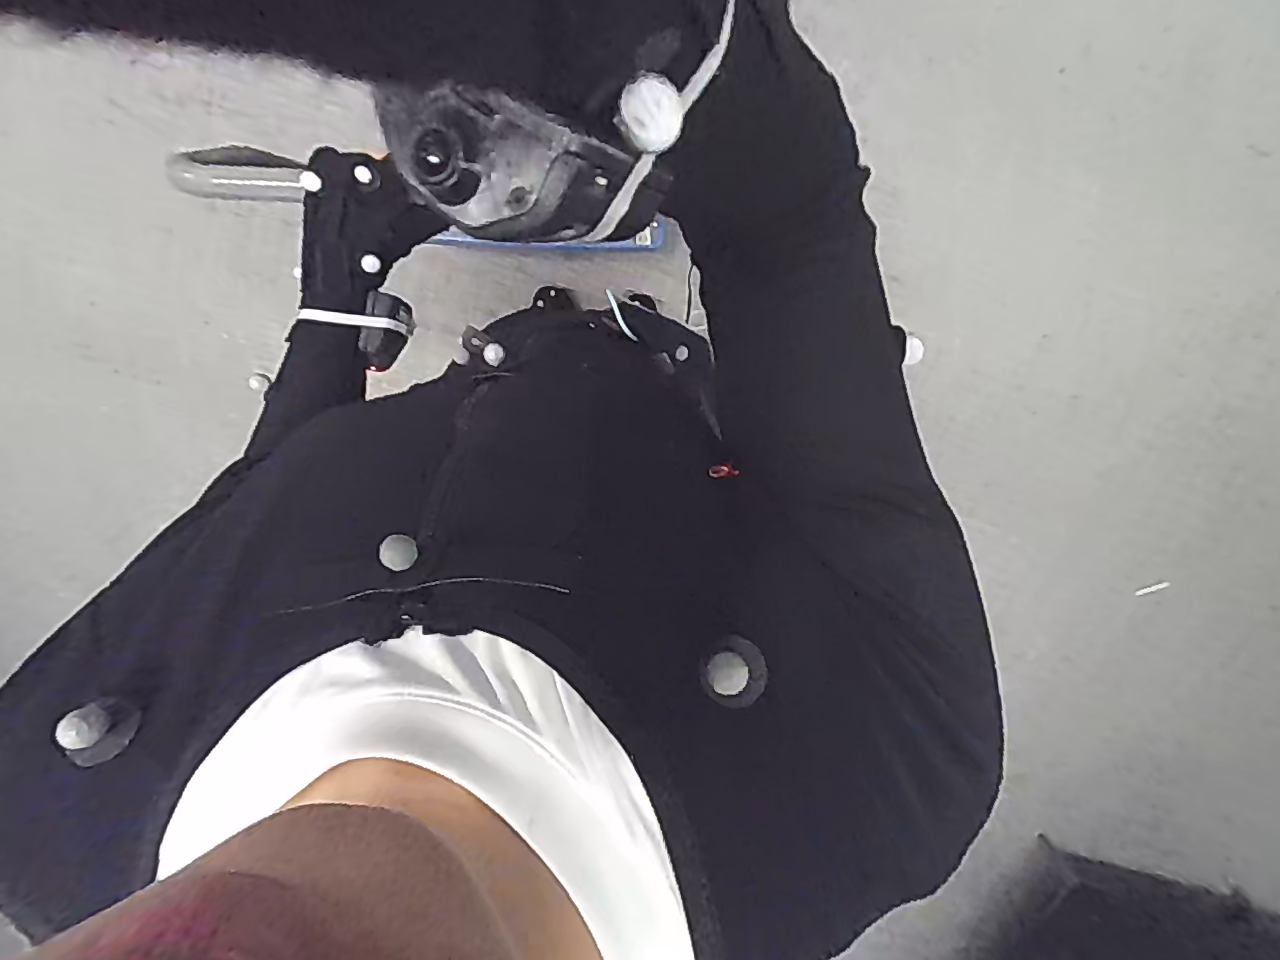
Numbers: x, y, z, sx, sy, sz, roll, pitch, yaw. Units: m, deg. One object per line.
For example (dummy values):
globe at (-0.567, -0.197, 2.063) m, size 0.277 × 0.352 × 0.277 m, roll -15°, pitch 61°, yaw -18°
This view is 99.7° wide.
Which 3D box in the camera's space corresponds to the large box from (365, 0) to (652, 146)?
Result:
large box at (-0.215, -0.824, 0.897) m, size 0.408 × 0.320 × 0.320 m, roll -17°, pitch 107°, yaw 7°
